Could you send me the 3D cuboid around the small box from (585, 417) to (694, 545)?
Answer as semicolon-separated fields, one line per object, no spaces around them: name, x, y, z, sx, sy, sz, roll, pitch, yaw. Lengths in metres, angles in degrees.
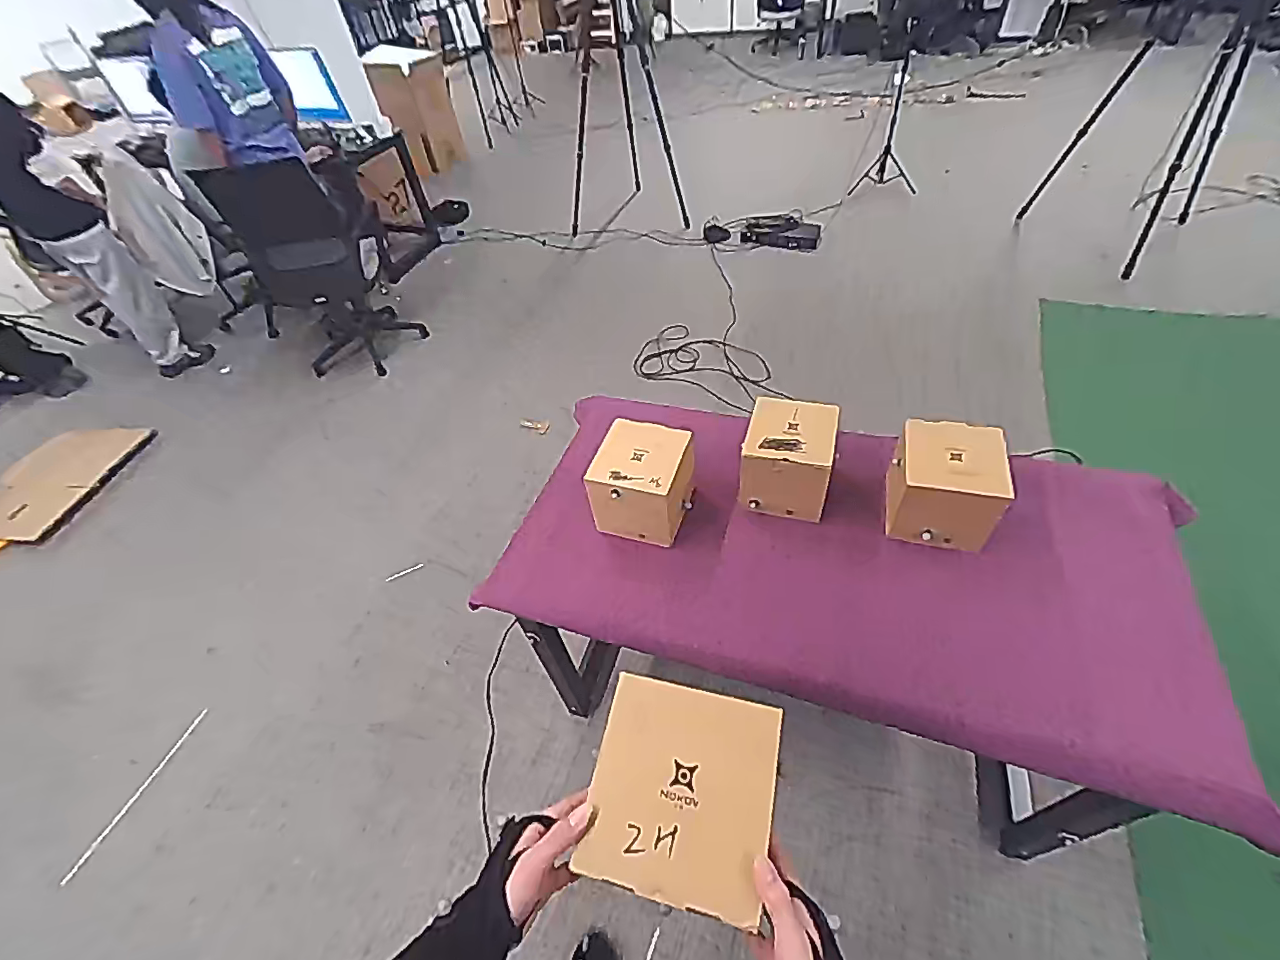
small box;0.007;0.001;1.096;0.168;0.176;0.179;11;50;18

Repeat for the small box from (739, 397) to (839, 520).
small box;0.300;-0.043;1.104;0.168;0.176;0.179;11;50;16

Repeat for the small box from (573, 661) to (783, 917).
small box;0.047;0.317;0.566;0.168;0.176;0.179;9;57;13

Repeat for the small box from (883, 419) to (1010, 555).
small box;0.567;0.013;1.023;0.168;0.176;0.179;10;51;16
